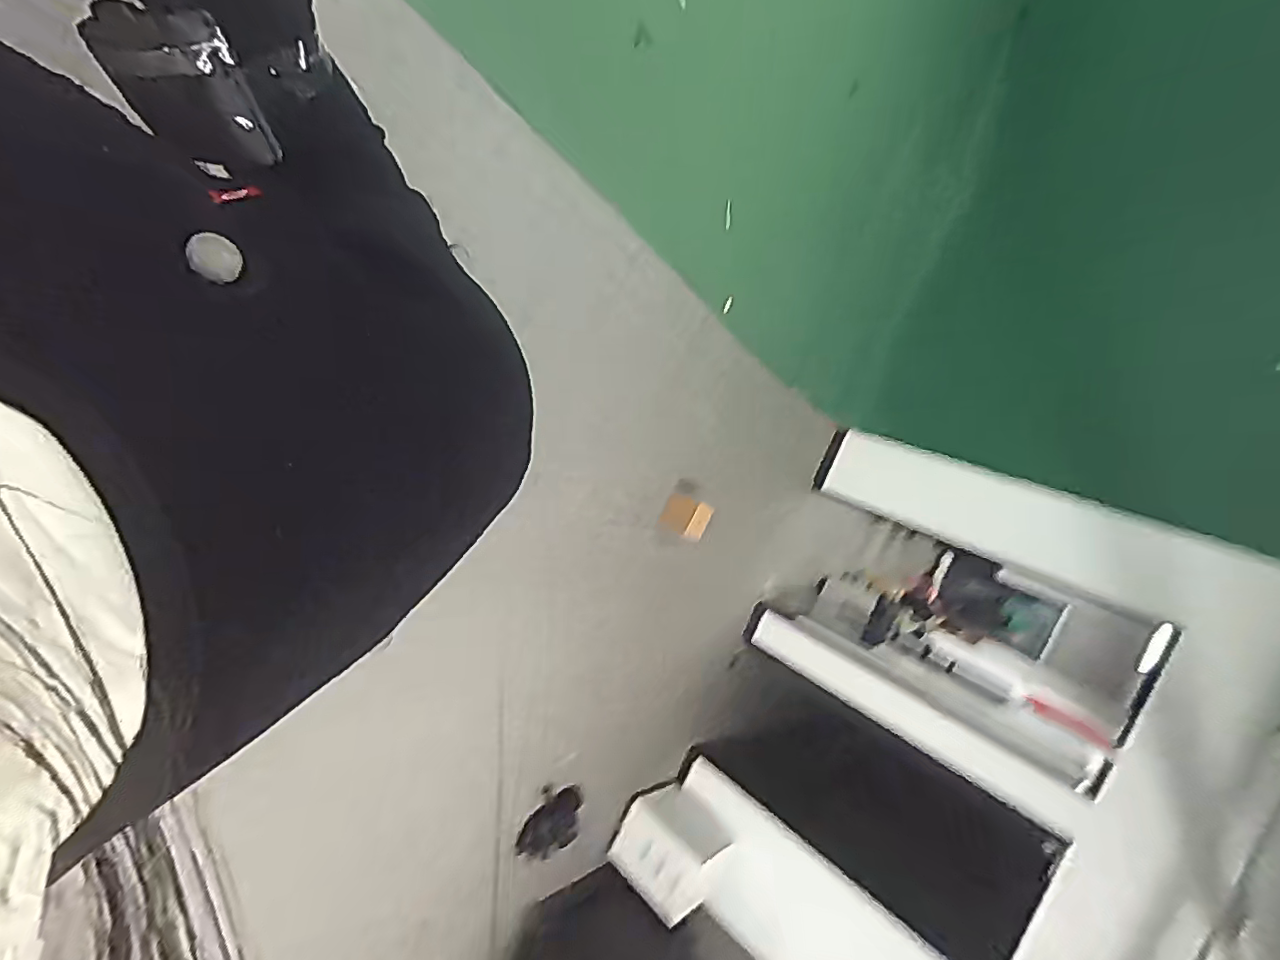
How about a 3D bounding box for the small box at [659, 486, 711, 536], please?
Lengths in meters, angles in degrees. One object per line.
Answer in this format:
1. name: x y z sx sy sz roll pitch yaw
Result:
1. small box: 0.215 0.151 2.644 0.168 0.176 0.179 26 88 -54
